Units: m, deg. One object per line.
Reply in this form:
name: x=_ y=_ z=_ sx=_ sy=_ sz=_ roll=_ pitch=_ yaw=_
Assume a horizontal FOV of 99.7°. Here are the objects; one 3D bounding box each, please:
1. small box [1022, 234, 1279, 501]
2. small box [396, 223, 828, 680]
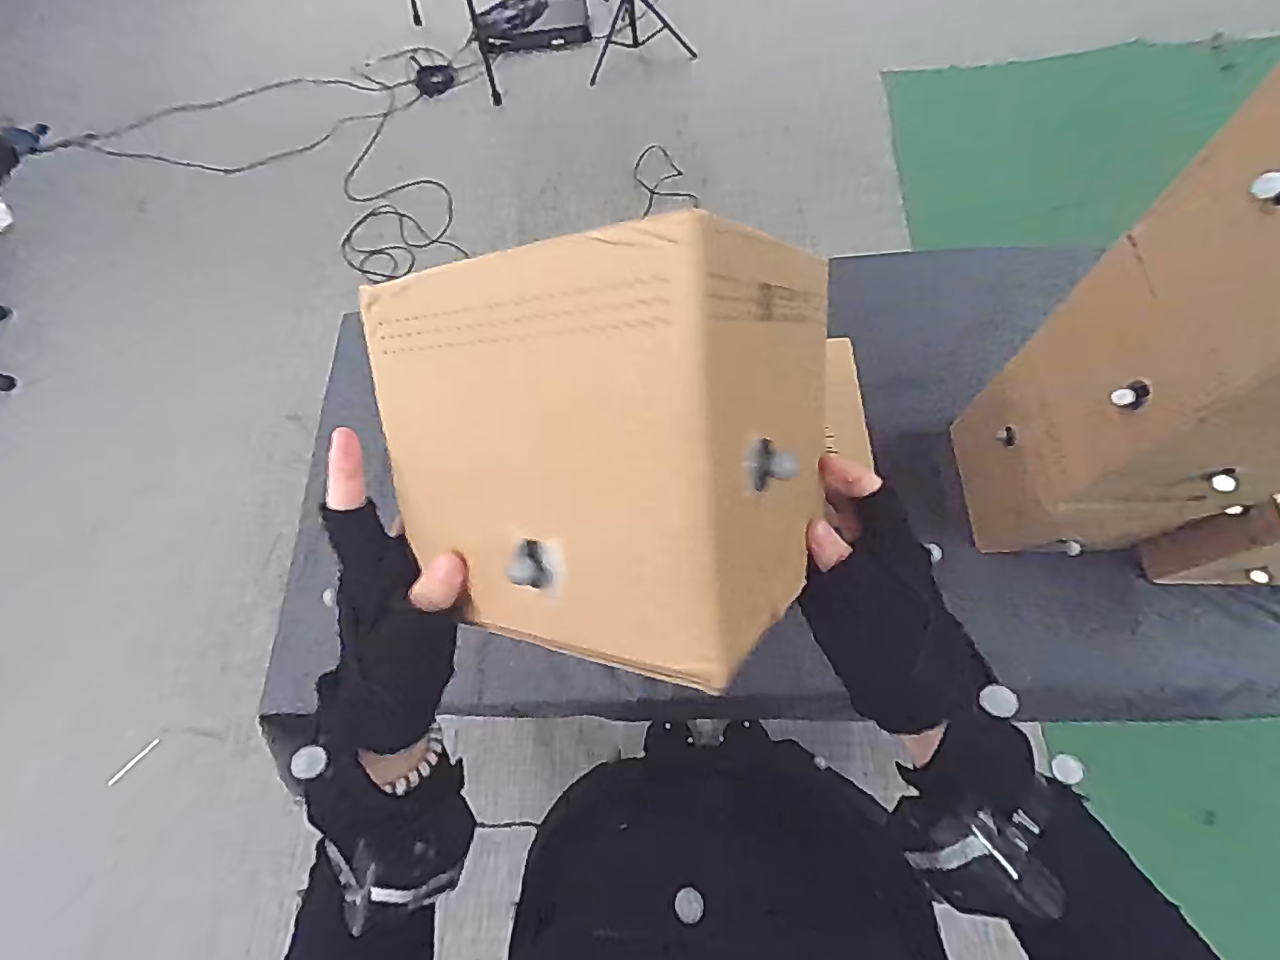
small box: x=0.473 y=-0.087 z=0.466 sx=0.168 sy=0.176 sz=0.179 roll=0 pitch=67 yaw=7
small box: x=-0.003 y=-0.028 z=0.291 sx=0.179 sy=0.168 sz=0.176 roll=4 pitch=106 yaw=29
